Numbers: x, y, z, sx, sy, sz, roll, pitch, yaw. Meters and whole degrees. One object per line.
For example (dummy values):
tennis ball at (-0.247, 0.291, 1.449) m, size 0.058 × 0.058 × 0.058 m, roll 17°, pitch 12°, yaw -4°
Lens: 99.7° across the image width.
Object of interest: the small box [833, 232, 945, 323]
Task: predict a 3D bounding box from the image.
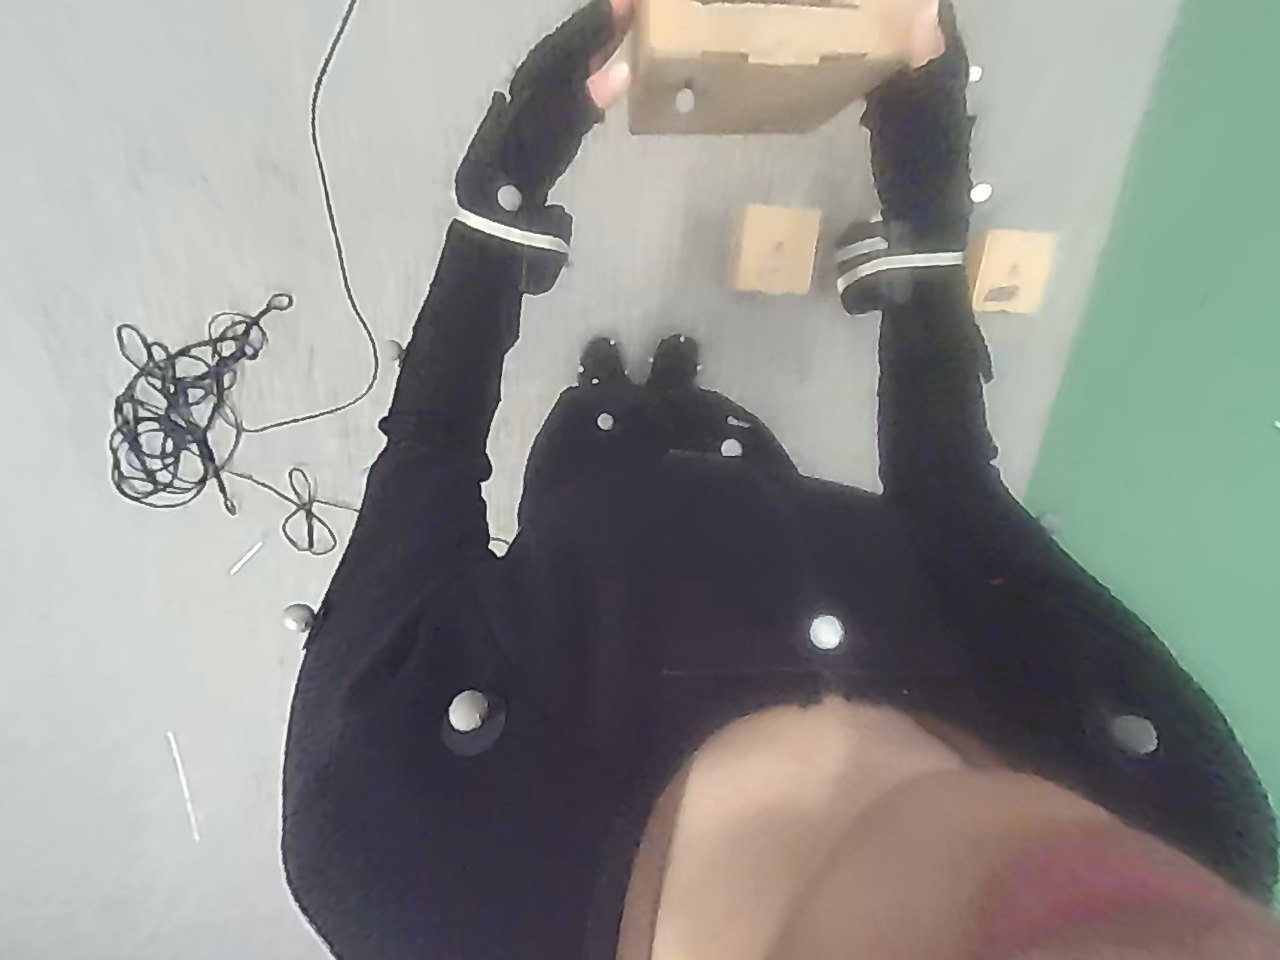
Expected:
small box at (0.577, -0.470, 1.276) m, size 0.168 × 0.176 × 0.179 m, roll 5°, pitch 107°, yaw -4°

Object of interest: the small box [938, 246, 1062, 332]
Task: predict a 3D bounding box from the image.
small box at (0.845, -0.451, 1.291) m, size 0.168 × 0.176 × 0.179 m, roll 2°, pitch 106°, yaw -3°

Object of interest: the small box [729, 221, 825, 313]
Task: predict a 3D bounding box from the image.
small box at (0.309, -0.487, 1.258) m, size 0.168 × 0.176 × 0.179 m, roll 4°, pitch 107°, yaw -2°
